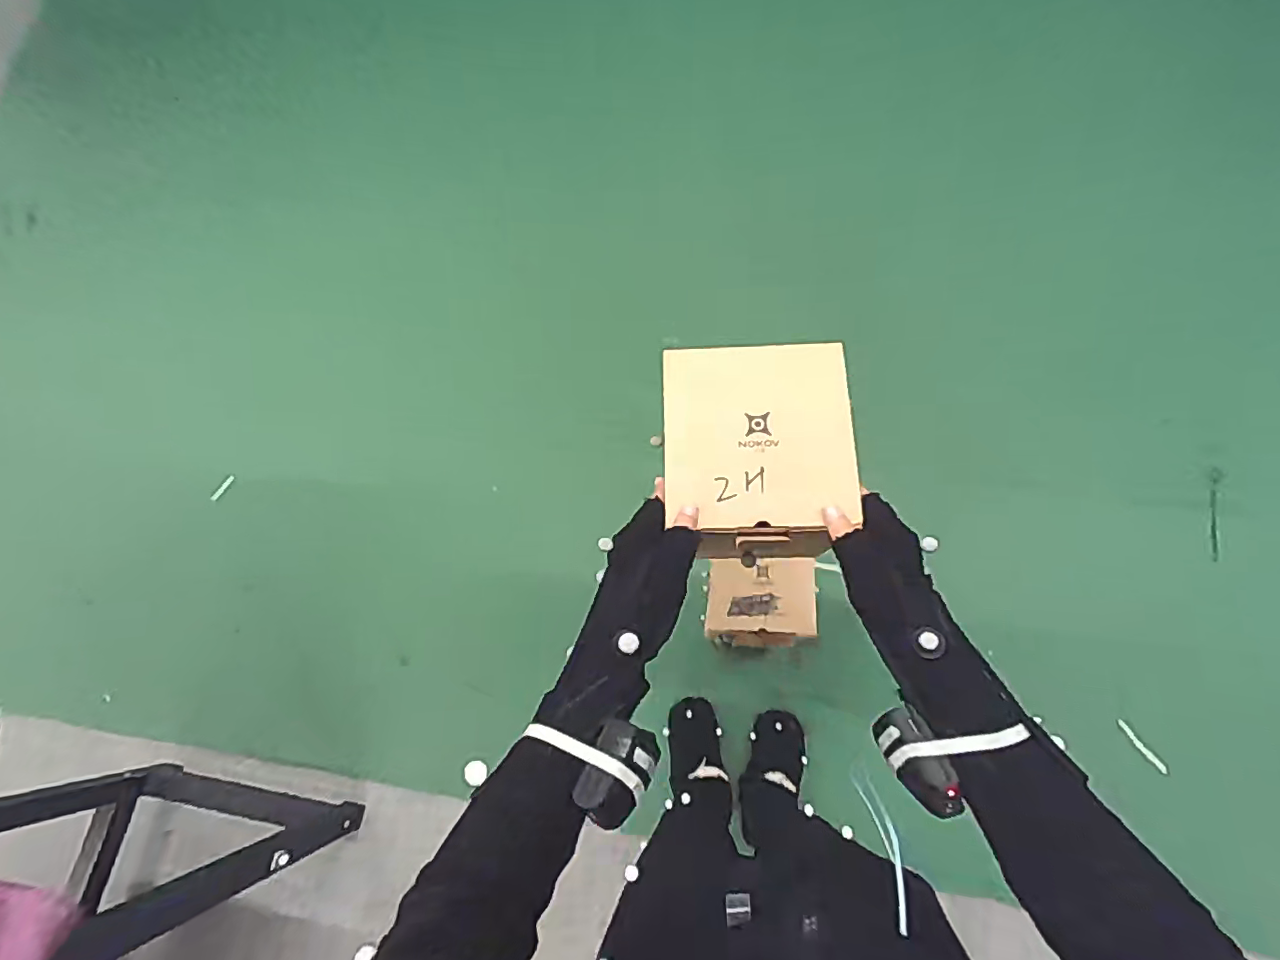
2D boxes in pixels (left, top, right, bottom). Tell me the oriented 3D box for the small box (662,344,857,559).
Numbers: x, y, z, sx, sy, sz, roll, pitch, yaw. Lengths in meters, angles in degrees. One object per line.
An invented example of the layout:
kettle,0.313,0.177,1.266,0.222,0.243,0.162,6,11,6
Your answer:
small box,0.106,-0.019,0.553,0.168,0.176,0.179,-1,74,5

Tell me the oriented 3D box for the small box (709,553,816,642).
small box,0.207,0.187,0.941,0.168,0.176,0.179,1,71,7

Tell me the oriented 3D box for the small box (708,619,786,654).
small box,0.248,0.300,1.248,0.168,0.176,0.179,6,74,10
